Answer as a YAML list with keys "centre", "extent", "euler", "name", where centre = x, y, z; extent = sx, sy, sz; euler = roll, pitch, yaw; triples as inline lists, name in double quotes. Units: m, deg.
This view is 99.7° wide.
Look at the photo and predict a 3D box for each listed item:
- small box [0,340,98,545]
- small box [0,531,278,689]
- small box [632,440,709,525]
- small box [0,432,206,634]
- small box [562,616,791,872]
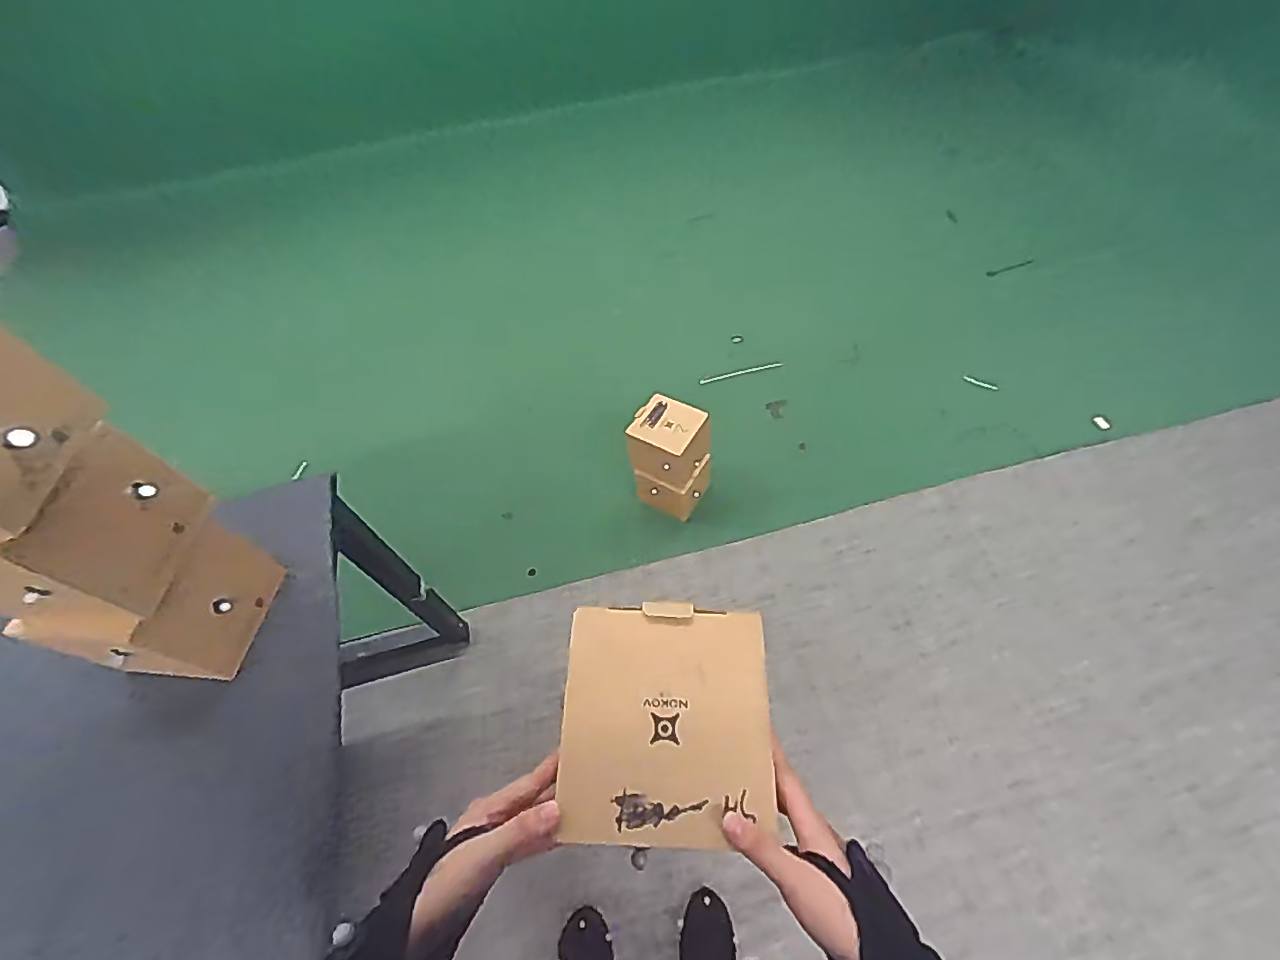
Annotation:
- centre: [-0.658, -0.038, 0.468]
  extent: [0.179, 0.176, 0.168]
  euler: [-8, 55, 1]
  name: "small box"
- centre: [-0.637, 0.172, 0.719]
  extent: [0.179, 0.176, 0.168]
  euler: [1, 55, 9]
  name: "small box"
- centre: [0.098, 0.014, 1.657]
  extent: [0.179, 0.176, 0.168]
  euler: [24, 61, 21]
  name: "small box"
- centre: [-0.646, 0.062, 0.598]
  extent: [0.179, 0.176, 0.168]
  euler: [-3, 54, 6]
  name: "small box"
- centre: [0.028, 0.236, 0.490]
  extent: [0.168, 0.176, 0.179]
  euler: [2, 60, 1]
  name: "small box"
